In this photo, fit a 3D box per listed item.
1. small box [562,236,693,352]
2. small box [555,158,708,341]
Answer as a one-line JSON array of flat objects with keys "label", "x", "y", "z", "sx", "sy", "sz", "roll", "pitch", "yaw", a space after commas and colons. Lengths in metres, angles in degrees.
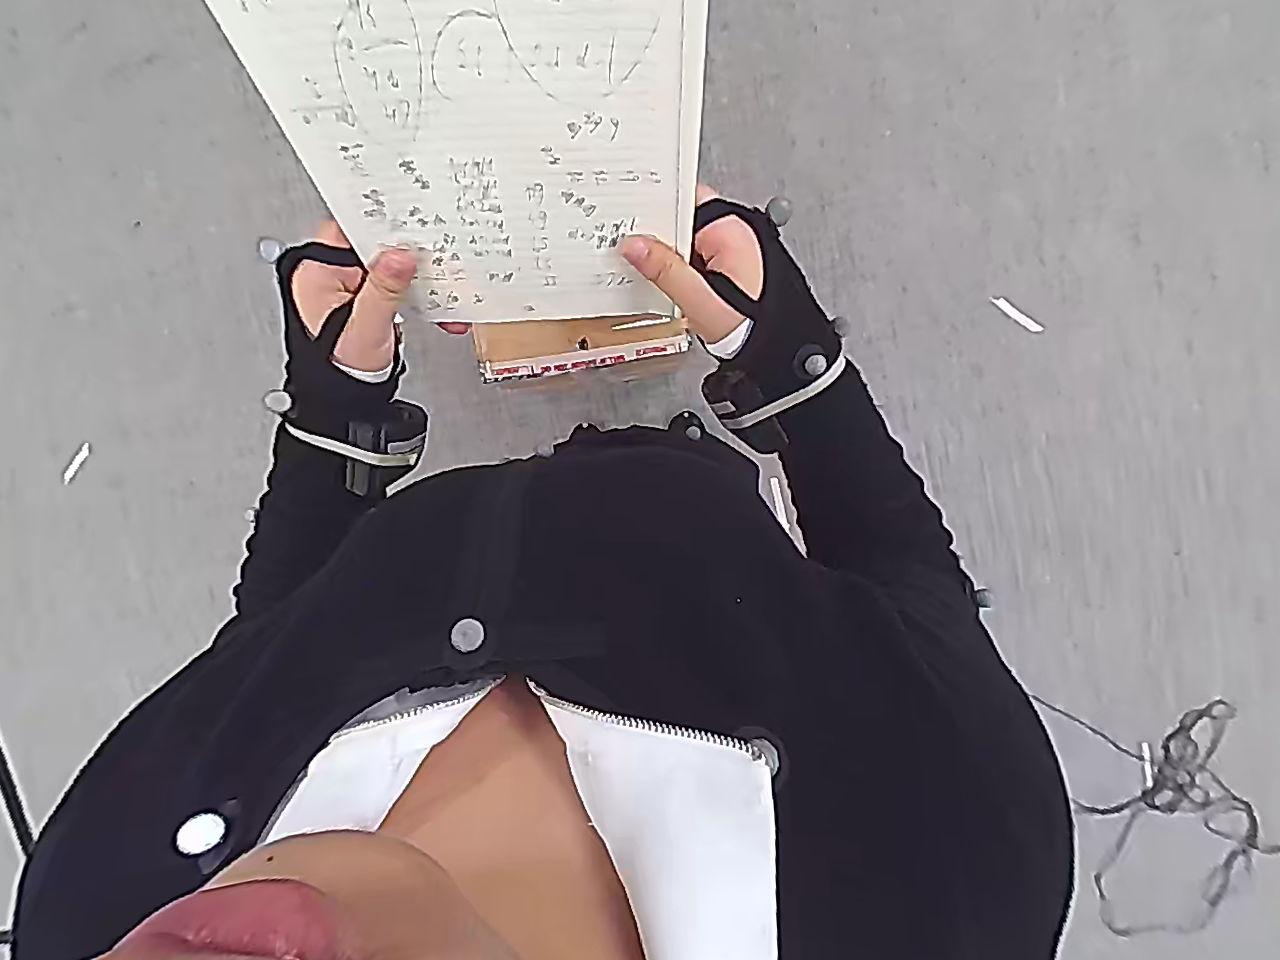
[{"label": "small box", "x": -0.018, "y": -0.316, "z": 0.893, "sx": 0.179, "sy": 0.176, "sz": 0.168, "roll": -13, "pitch": 97, "yaw": 1}, {"label": "small box", "x": -0.012, "y": -0.296, "z": 0.730, "sx": 0.168, "sy": 0.176, "sz": 0.179, "roll": -9, "pitch": 98, "yaw": 0}]
